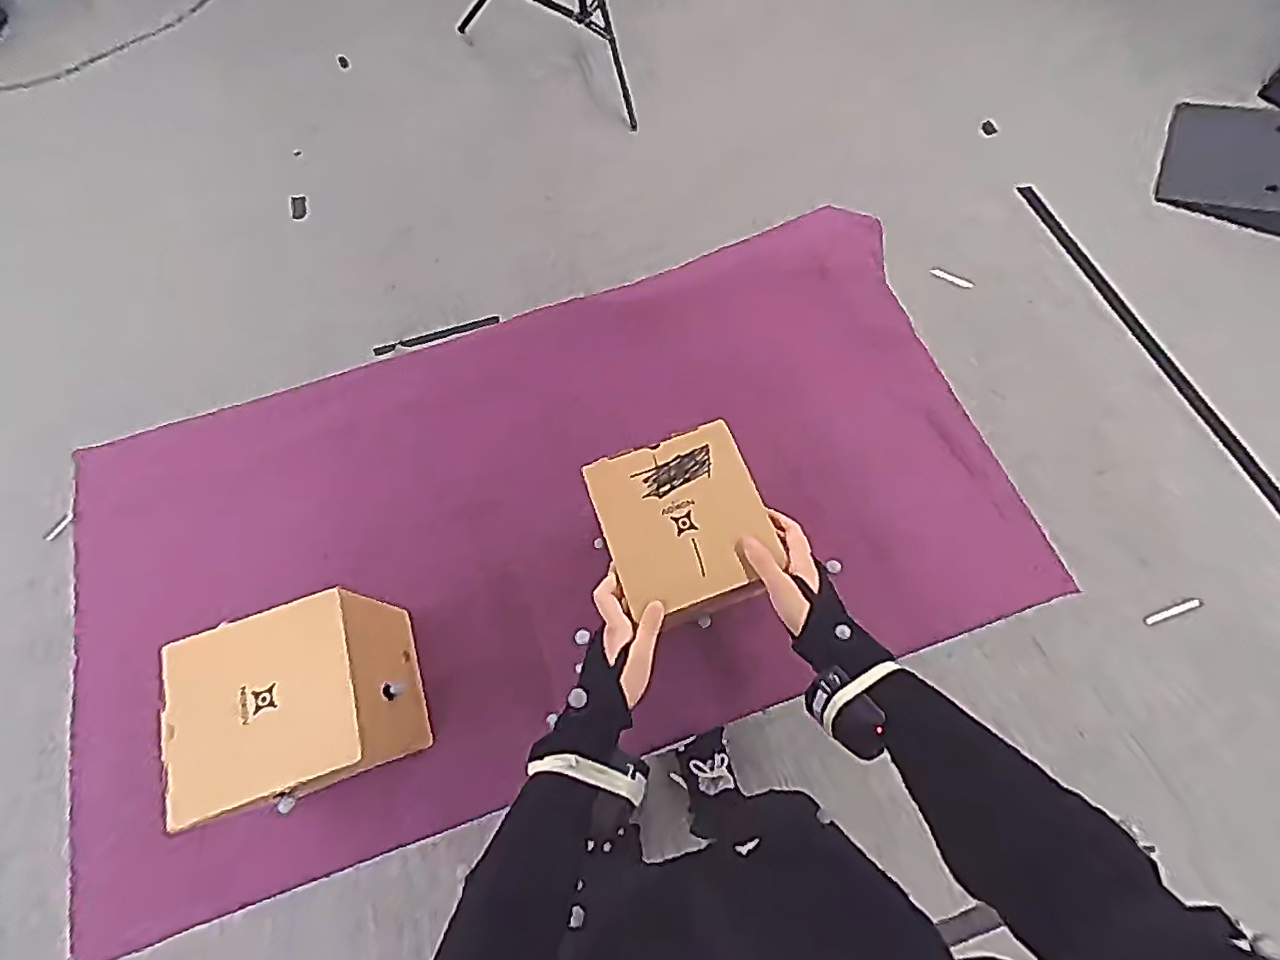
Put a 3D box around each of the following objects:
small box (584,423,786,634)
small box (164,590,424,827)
[{"bbox_3d":[0.043,0.065,0.629,0.168,0.176,0.179,-19,71,-5],"label":"small box"},{"bbox_3d":[-0.352,0.233,0.582,0.179,0.176,0.168,-19,70,-5],"label":"small box"}]
